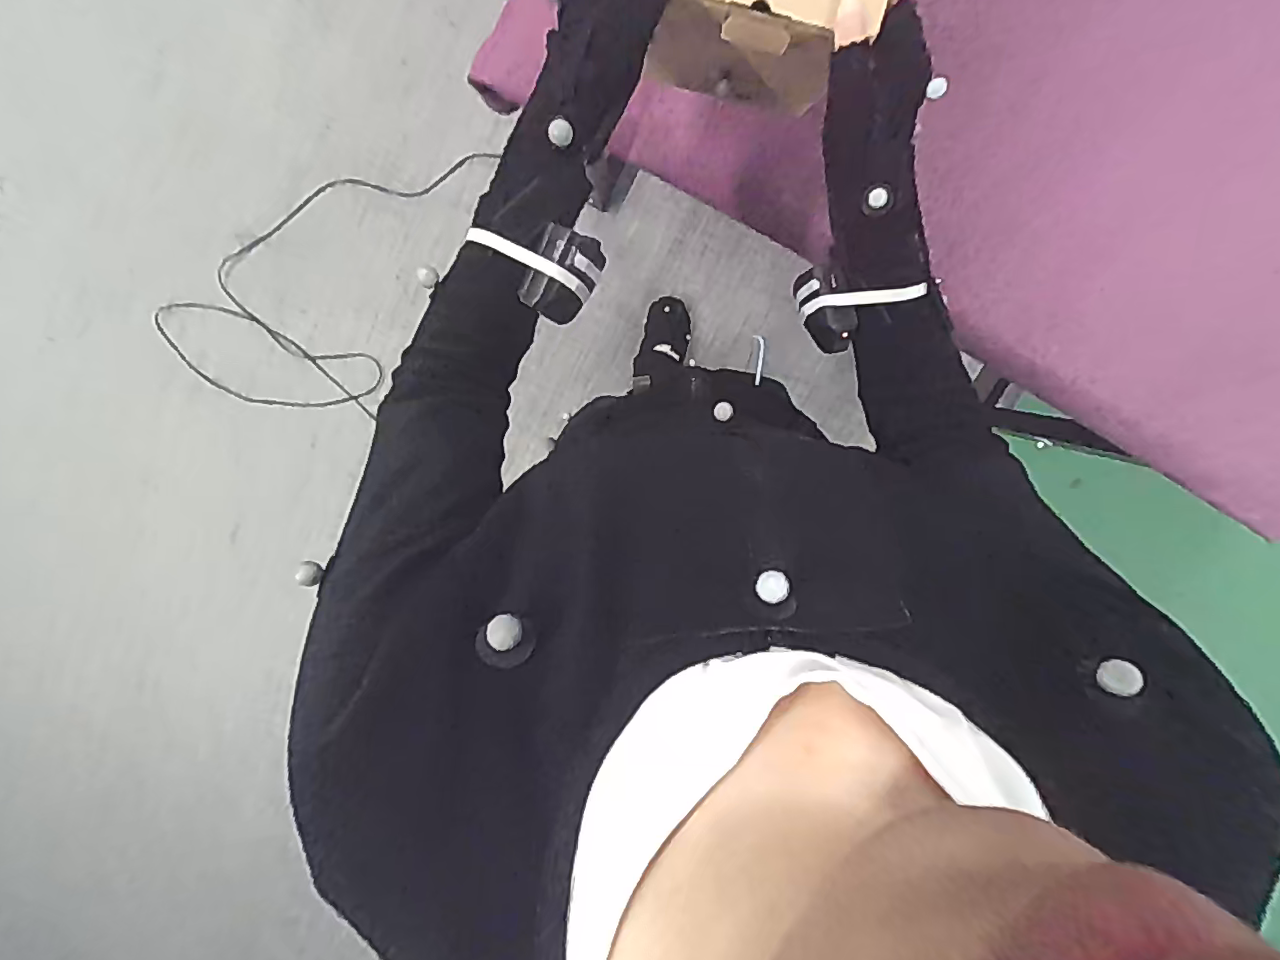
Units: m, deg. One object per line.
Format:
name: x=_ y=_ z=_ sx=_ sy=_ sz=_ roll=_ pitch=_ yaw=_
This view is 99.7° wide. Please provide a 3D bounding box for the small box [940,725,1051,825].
small box: x=1.043 y=0.864 z=1.599 sx=0.179 sy=0.176 sz=0.168 roll=27 pitch=102 yaw=-6
